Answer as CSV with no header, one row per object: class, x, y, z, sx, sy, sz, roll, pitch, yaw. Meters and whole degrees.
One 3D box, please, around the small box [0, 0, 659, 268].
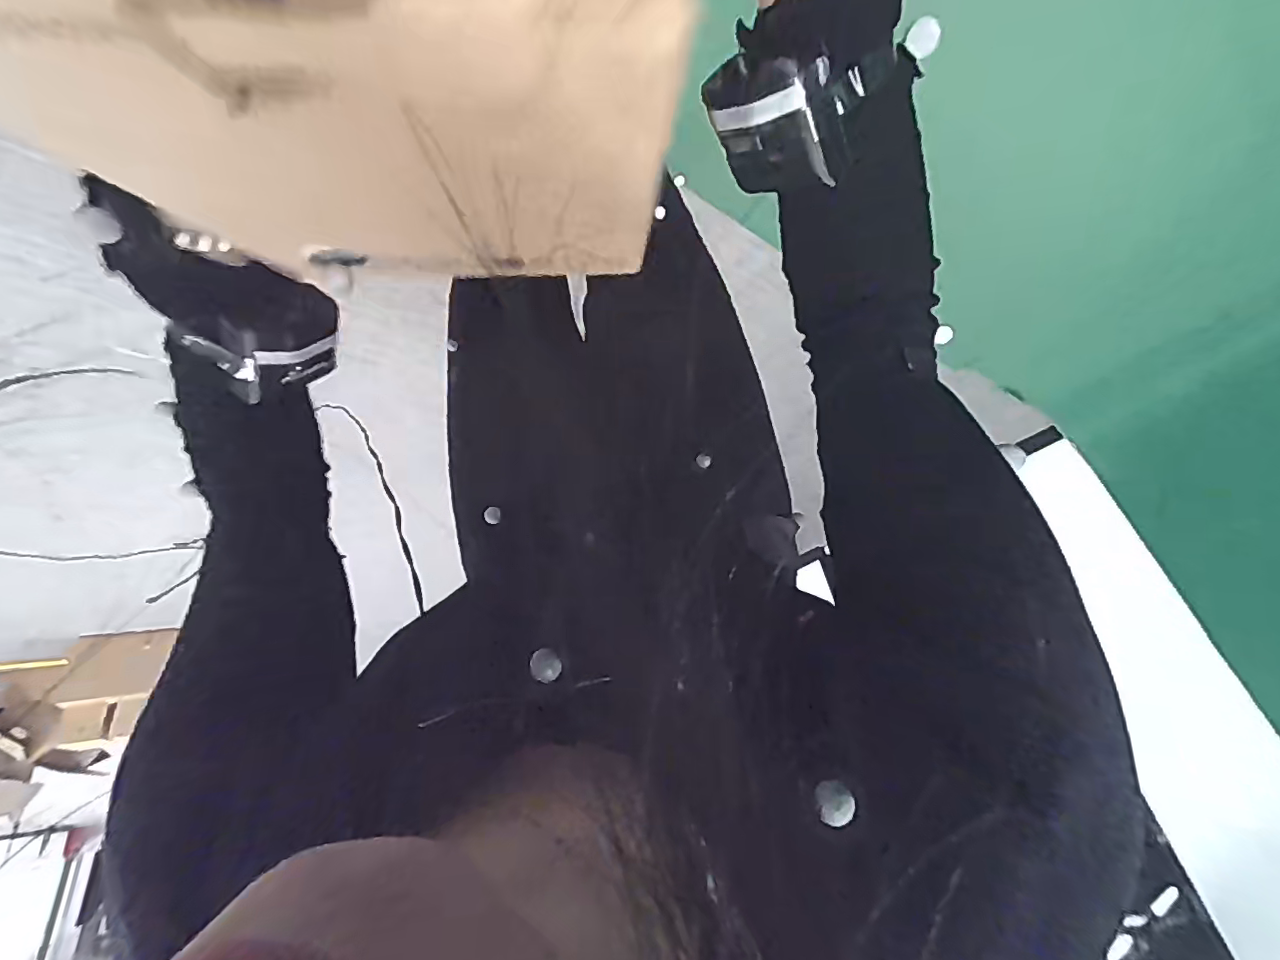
small box,-0.076,-0.180,0.186,0.168,0.179,0.176,0,-172,-2
